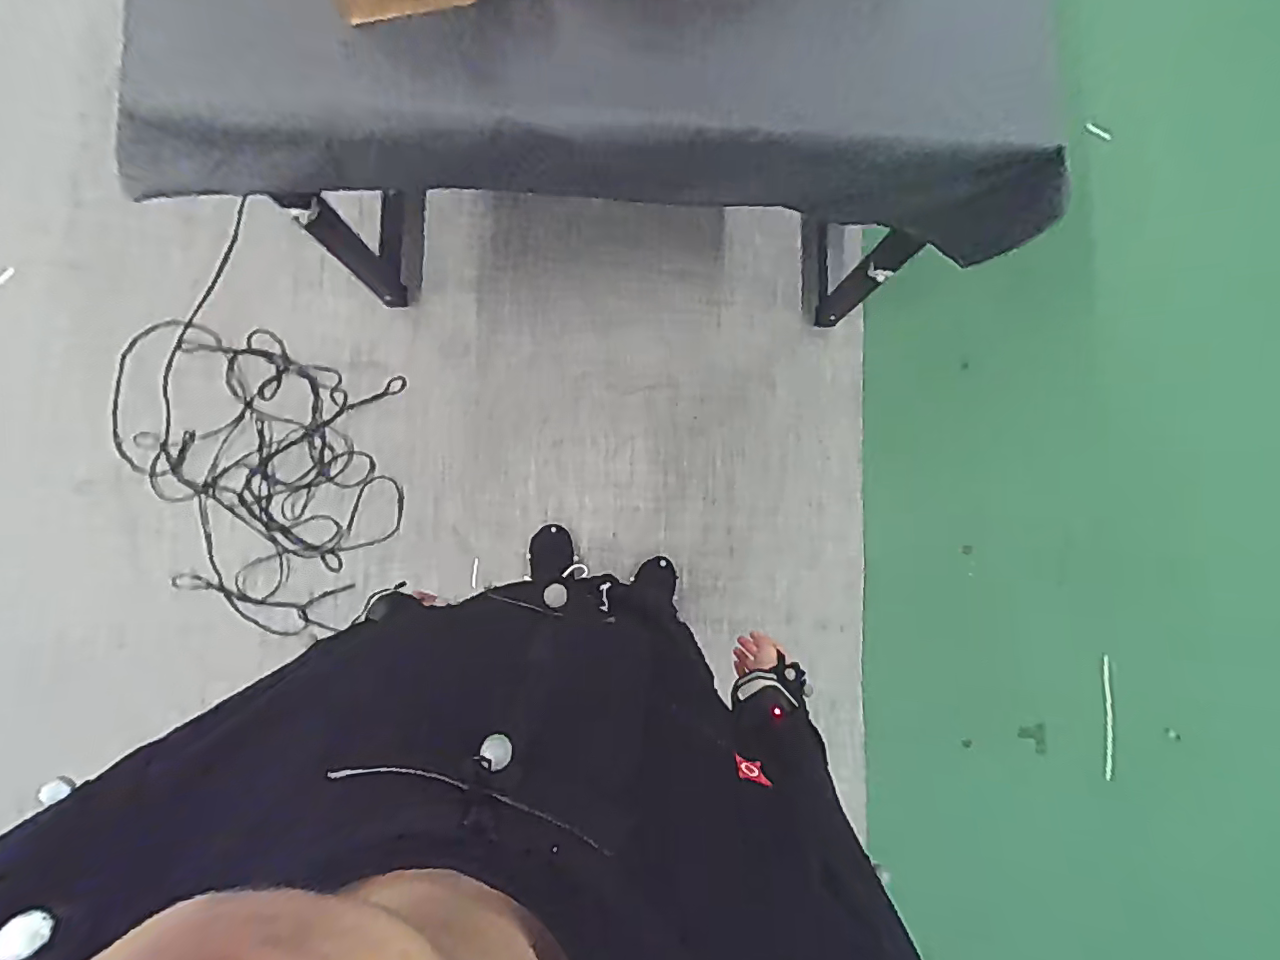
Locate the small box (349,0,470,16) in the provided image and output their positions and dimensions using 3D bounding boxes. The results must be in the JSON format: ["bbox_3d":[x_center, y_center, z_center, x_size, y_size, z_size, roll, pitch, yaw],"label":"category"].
[{"bbox_3d":[-0.295,-0.685,0.608,0.168,0.176,0.179,-14,87,-5],"label":"small box"}]
